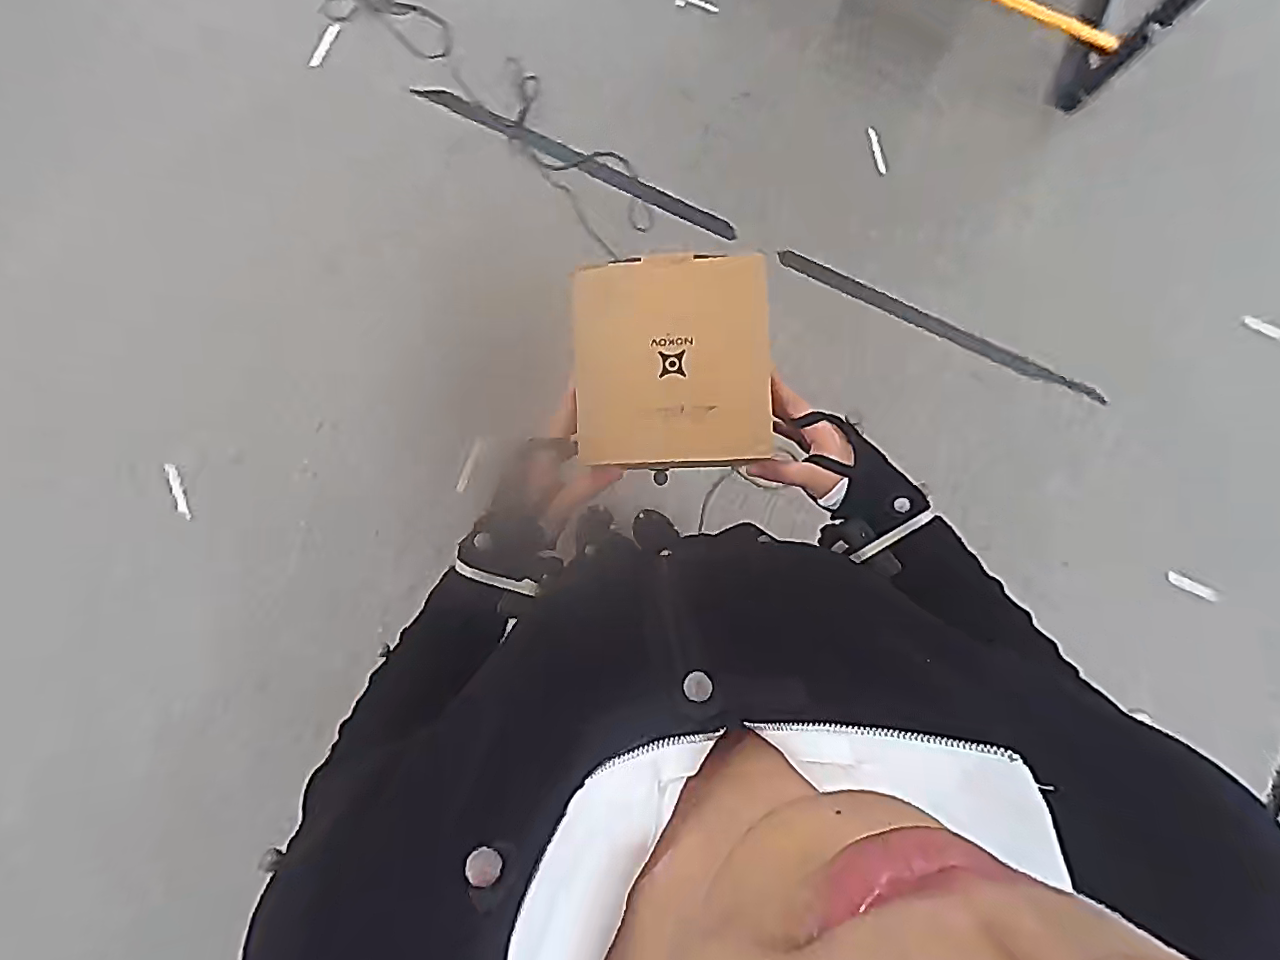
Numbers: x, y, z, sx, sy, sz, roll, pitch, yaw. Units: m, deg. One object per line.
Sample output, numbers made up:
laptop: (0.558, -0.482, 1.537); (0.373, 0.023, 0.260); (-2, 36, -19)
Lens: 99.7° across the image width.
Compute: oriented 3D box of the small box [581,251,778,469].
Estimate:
small box: (0.034, -0.102, 0.529); (0.168, 0.176, 0.179); (-1, 90, 2)
